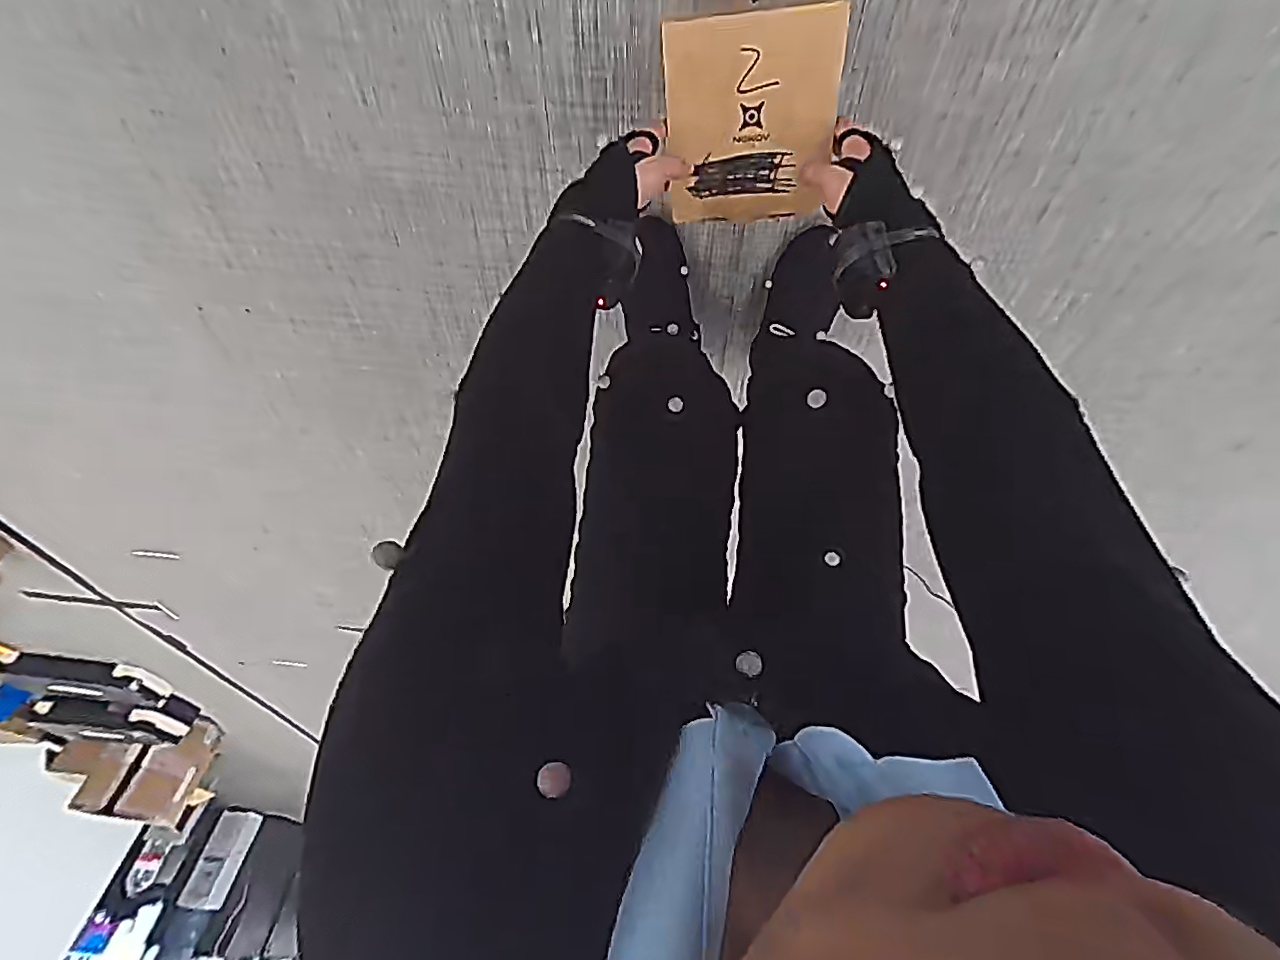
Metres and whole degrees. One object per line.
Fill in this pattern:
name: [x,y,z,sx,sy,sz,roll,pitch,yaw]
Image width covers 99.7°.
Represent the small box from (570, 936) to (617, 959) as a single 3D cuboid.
small box: [-0.177,1.836,2.030,0.168,0.176,0.179,3,138,3]
